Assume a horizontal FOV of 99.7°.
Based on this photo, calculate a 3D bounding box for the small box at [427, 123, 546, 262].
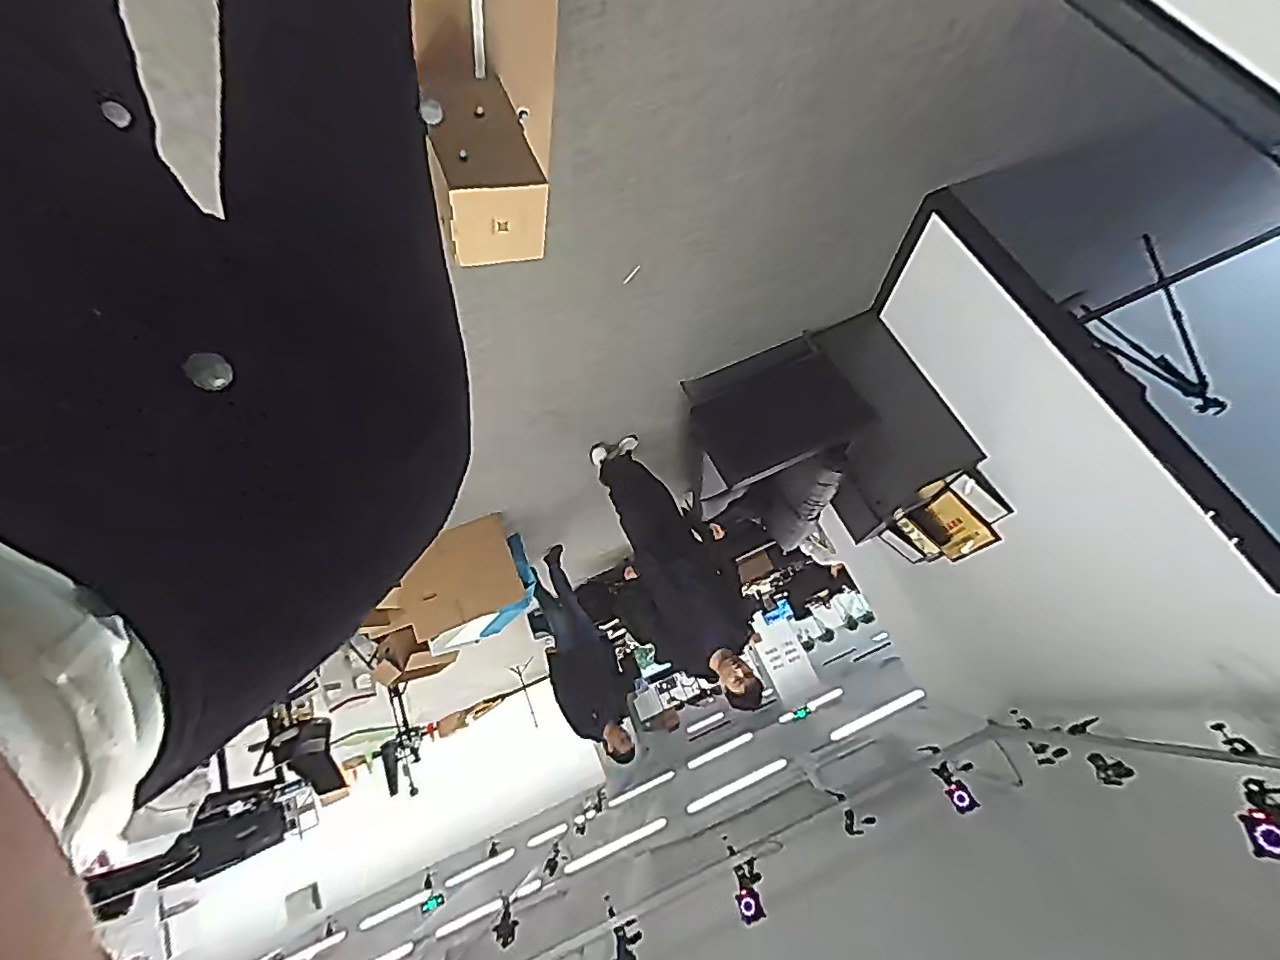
[{"bbox_3d":[-0.292,-0.542,1.018,0.179,0.176,0.168,-16,158,-21],"label":"small box"}]

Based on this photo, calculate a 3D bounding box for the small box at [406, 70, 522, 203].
[{"bbox_3d":[-0.350,-0.681,1.080,0.179,0.176,0.168,-15,157,-23],"label":"small box"}]
